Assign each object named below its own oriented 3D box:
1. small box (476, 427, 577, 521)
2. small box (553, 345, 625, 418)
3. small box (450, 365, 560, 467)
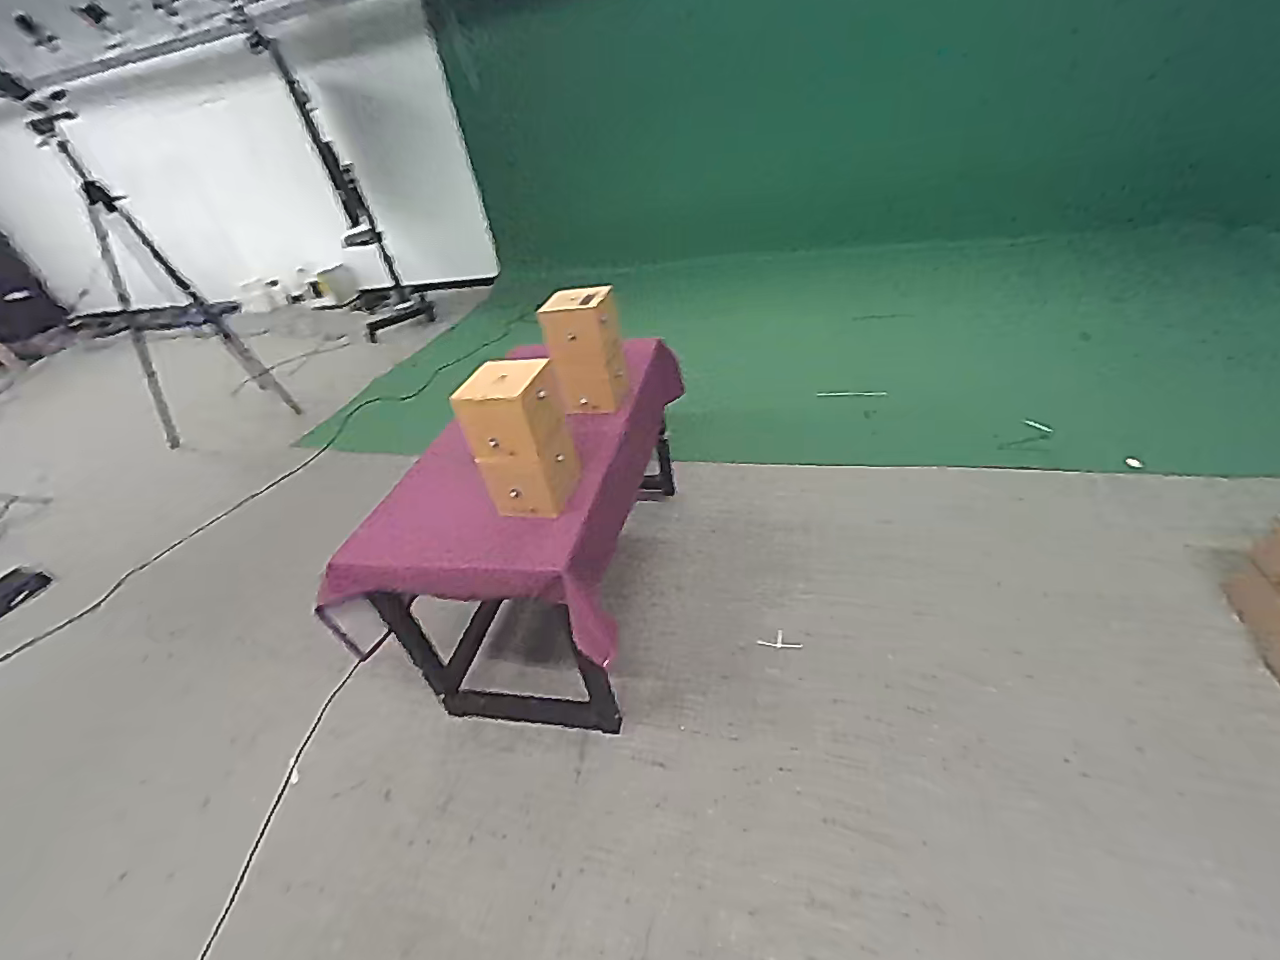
[{"bbox_3d":[-0.270,-0.015,1.332,0.168,0.176,0.179,1,38,17],"label":"small box"},{"bbox_3d":[-0.153,-0.310,1.701,0.168,0.176,0.179,1,39,17],"label":"small box"},{"bbox_3d":[-0.297,-0.147,1.240,0.168,0.176,0.179,1,39,17],"label":"small box"}]
